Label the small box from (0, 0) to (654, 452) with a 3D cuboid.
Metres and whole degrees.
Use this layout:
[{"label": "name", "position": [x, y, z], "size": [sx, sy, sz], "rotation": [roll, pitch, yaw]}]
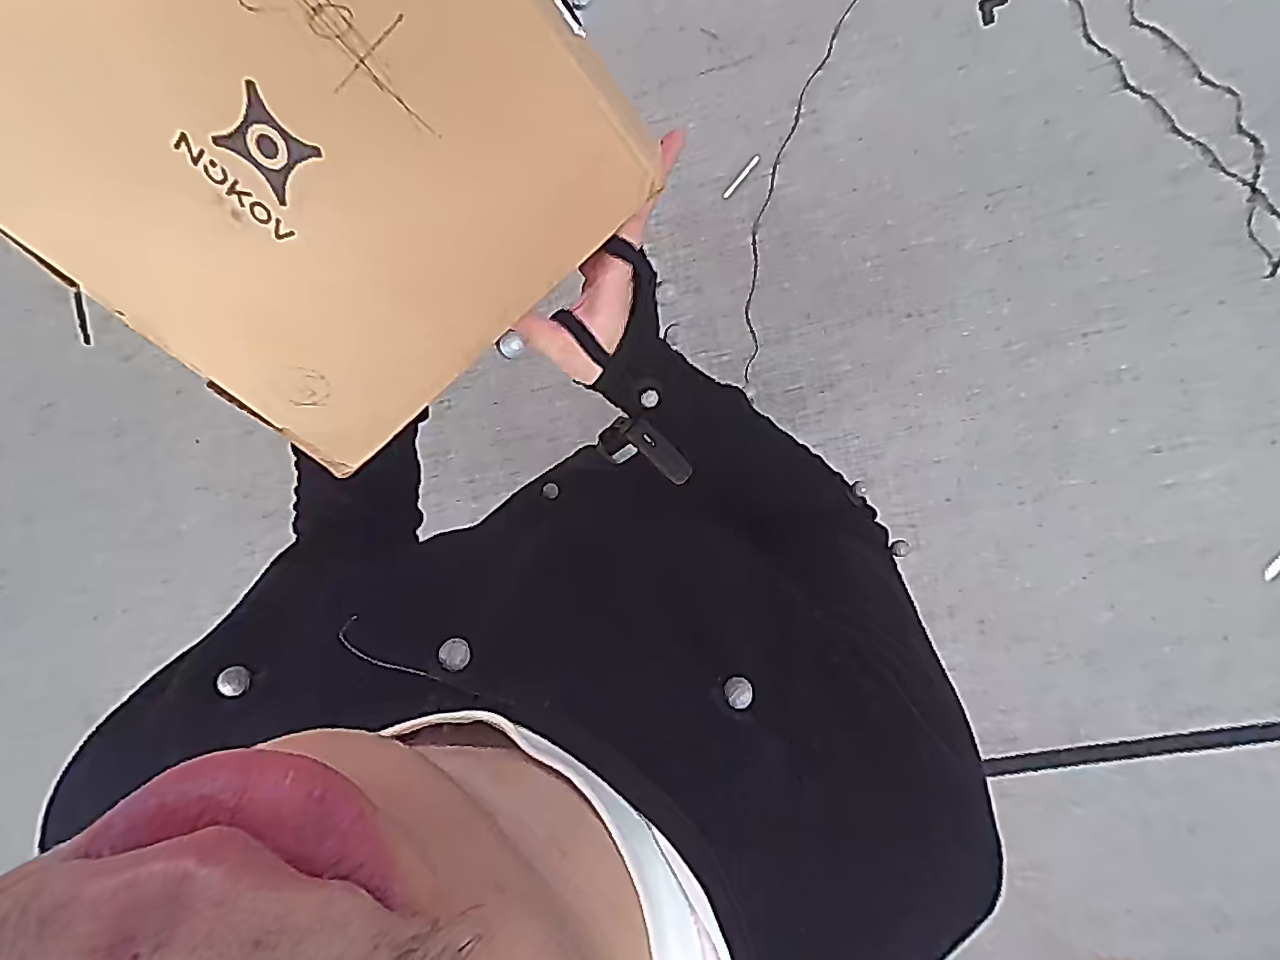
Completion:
[{"label": "small box", "position": [-0.107, -0.151, 0.236], "size": [0.179, 0.176, 0.168], "rotation": [-35, 118, 23]}]
